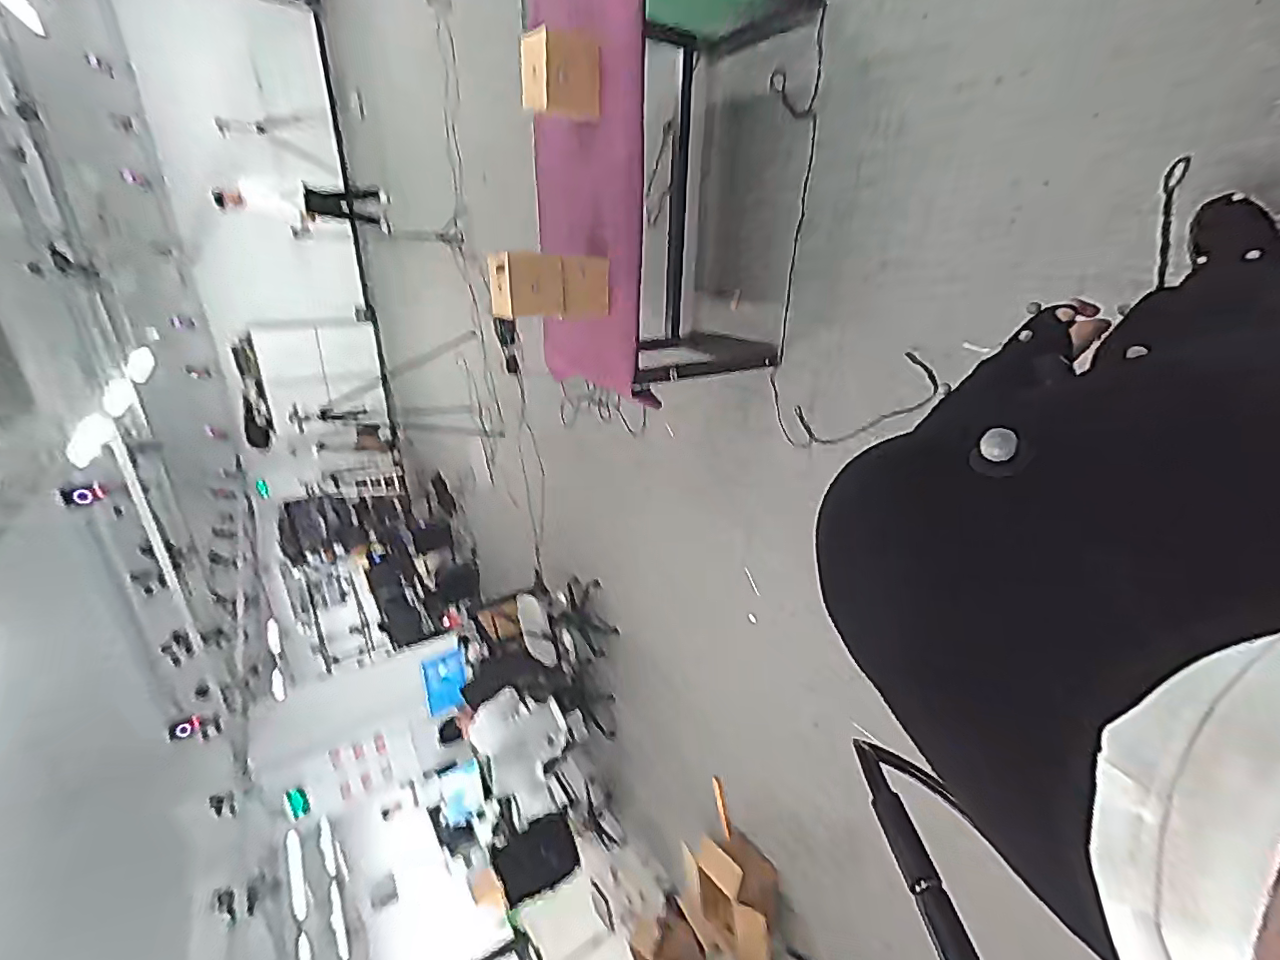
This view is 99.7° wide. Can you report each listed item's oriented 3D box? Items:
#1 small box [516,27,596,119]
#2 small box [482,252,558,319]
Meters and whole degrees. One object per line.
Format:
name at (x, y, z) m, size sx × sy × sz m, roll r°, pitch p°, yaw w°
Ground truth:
small box at (-0.235, -1.137, 1.523) m, size 0.168 × 0.176 × 0.179 m, roll 36°, pitch 132°, yaw 45°
small box at (-0.354, -0.580, 1.608) m, size 0.168 × 0.176 × 0.179 m, roll 28°, pitch 125°, yaw 50°
